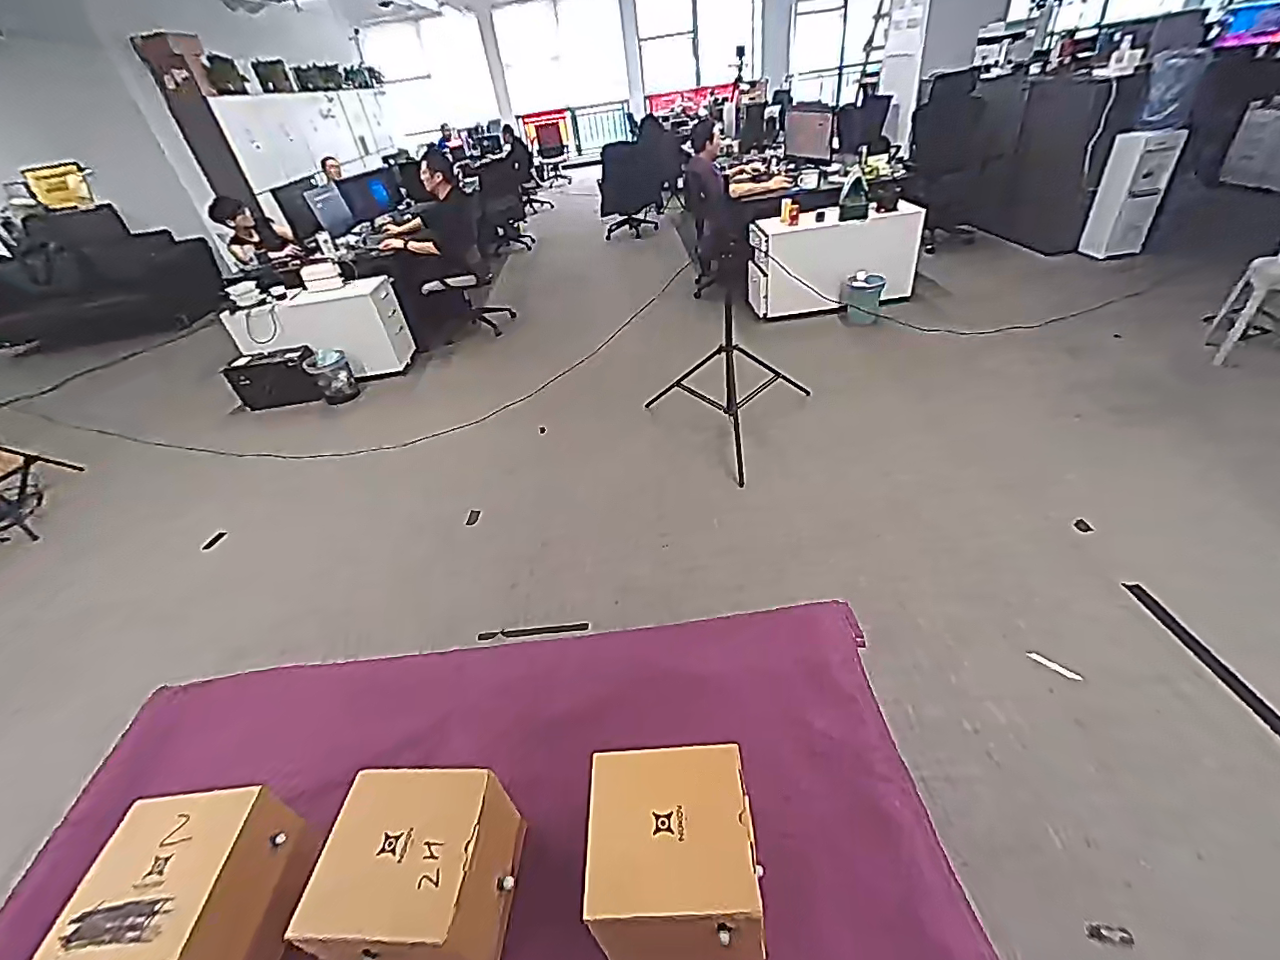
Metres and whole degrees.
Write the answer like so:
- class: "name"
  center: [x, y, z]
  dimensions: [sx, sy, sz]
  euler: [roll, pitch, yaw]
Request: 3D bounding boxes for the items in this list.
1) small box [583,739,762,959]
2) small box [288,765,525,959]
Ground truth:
- class: "small box"
  center: [0.041, 0.429, 0.628]
  dimensions: [0.179, 0.176, 0.168]
  euler: [-6, 35, 4]
- class: "small box"
  center: [-0.256, 0.463, 0.644]
  dimensions: [0.179, 0.176, 0.168]
  euler: [-3, 37, 7]
